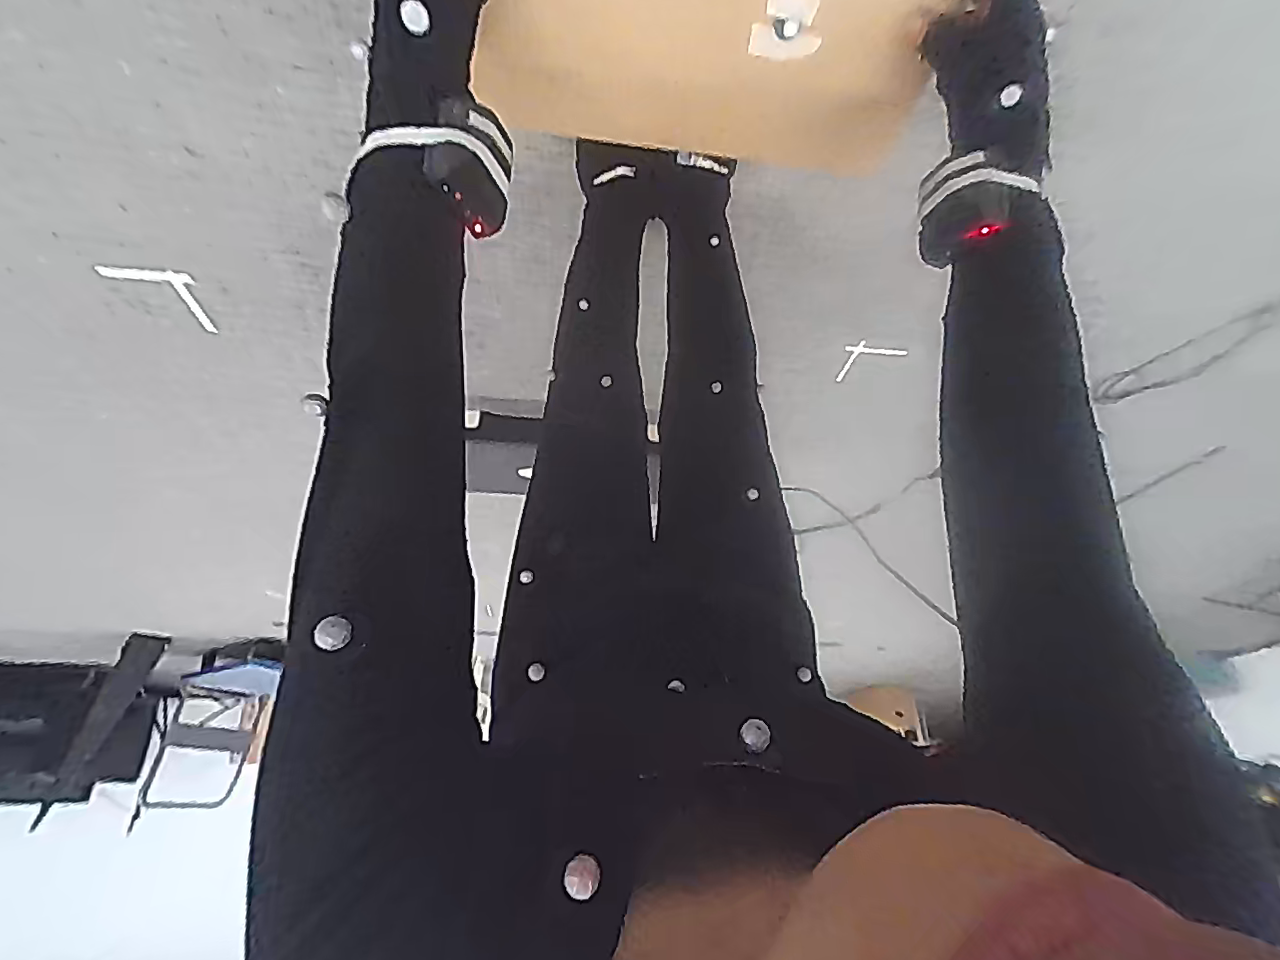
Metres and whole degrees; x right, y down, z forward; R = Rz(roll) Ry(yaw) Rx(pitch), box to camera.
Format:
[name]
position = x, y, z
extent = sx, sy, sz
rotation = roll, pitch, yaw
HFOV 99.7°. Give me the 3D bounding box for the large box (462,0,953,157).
[large box]
position = 0.057, -0.539, 0.474
extent = 0.408, 0.320, 0.320
rotation = 3, 149, -6
